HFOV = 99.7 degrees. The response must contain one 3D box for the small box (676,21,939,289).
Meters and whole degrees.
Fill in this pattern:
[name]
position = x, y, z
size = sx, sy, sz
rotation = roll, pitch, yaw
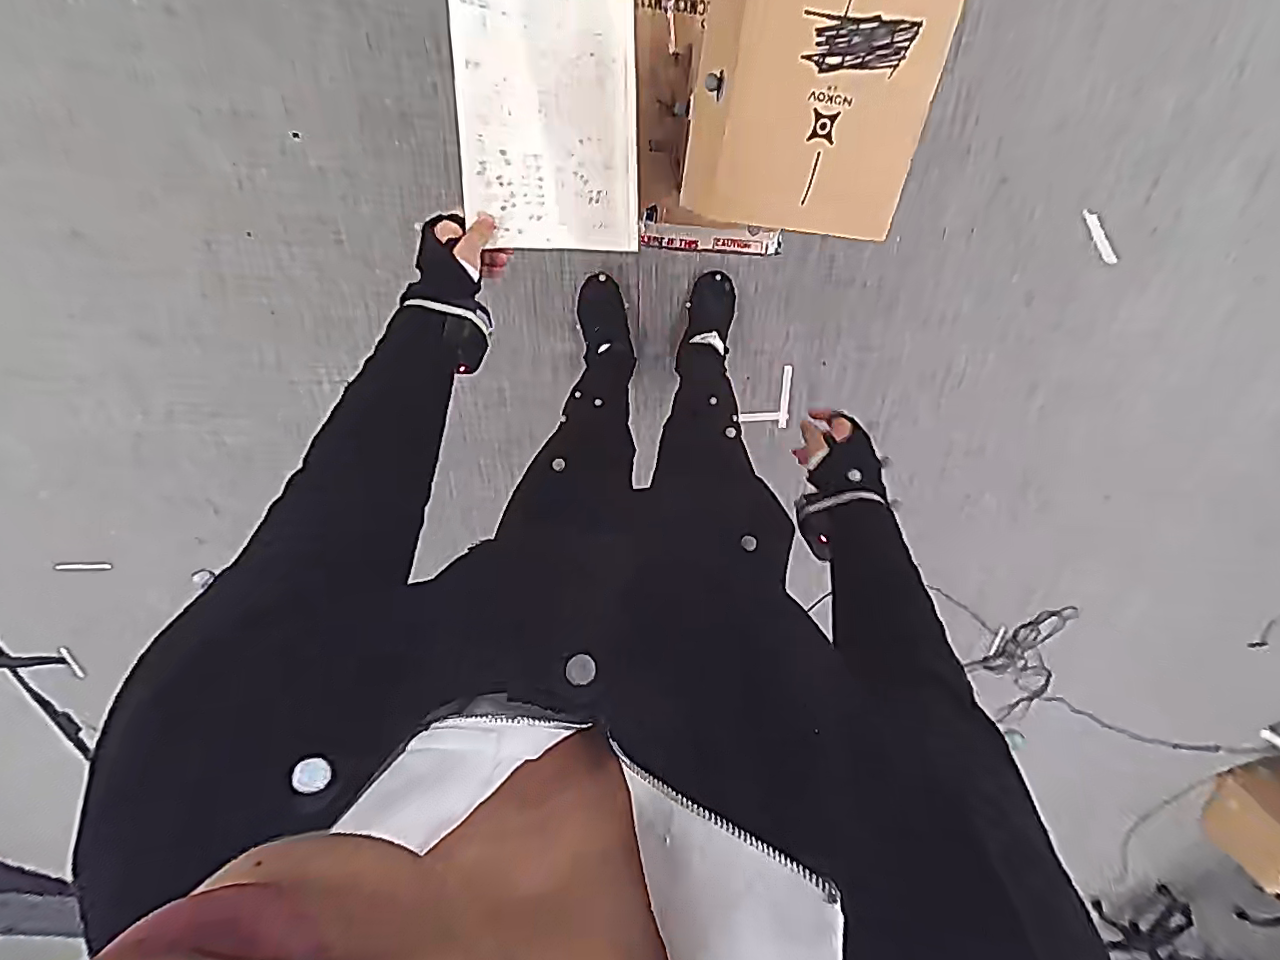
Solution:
[small box]
position = 0.136, -0.300, 0.520
size = 0.168, 0.176, 0.179
rotation = 4, 122, -9
